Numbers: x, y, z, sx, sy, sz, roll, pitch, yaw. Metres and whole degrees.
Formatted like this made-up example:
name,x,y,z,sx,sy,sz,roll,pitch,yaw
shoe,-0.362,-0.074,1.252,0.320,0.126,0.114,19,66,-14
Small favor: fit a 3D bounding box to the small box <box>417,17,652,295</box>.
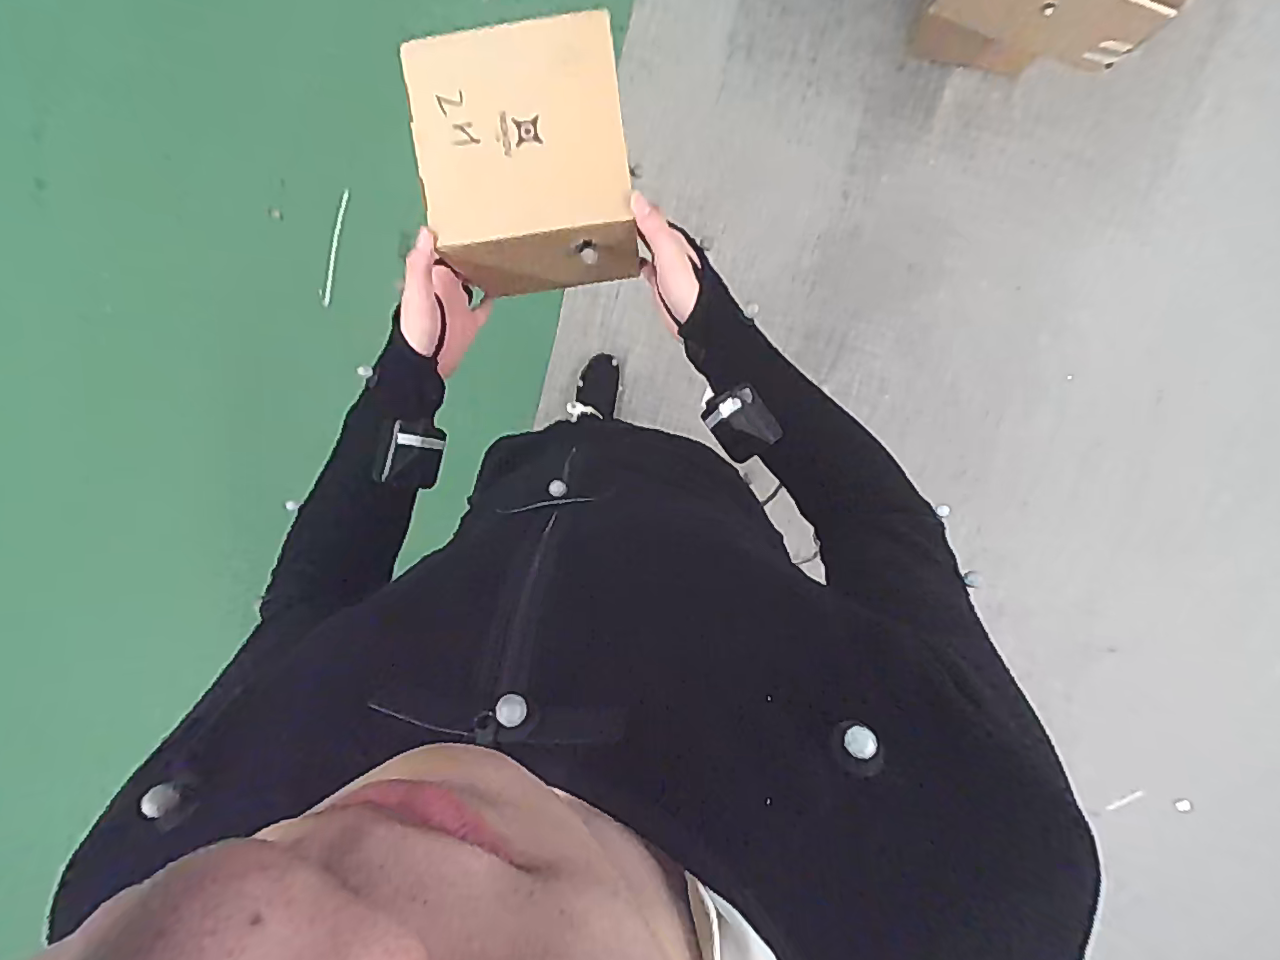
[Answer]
name,x,y,z,sx,sy,sz,roll,pitch,yaw
small box,-0.086,-0.290,0.524,0.179,0.176,0.168,-8,94,1
